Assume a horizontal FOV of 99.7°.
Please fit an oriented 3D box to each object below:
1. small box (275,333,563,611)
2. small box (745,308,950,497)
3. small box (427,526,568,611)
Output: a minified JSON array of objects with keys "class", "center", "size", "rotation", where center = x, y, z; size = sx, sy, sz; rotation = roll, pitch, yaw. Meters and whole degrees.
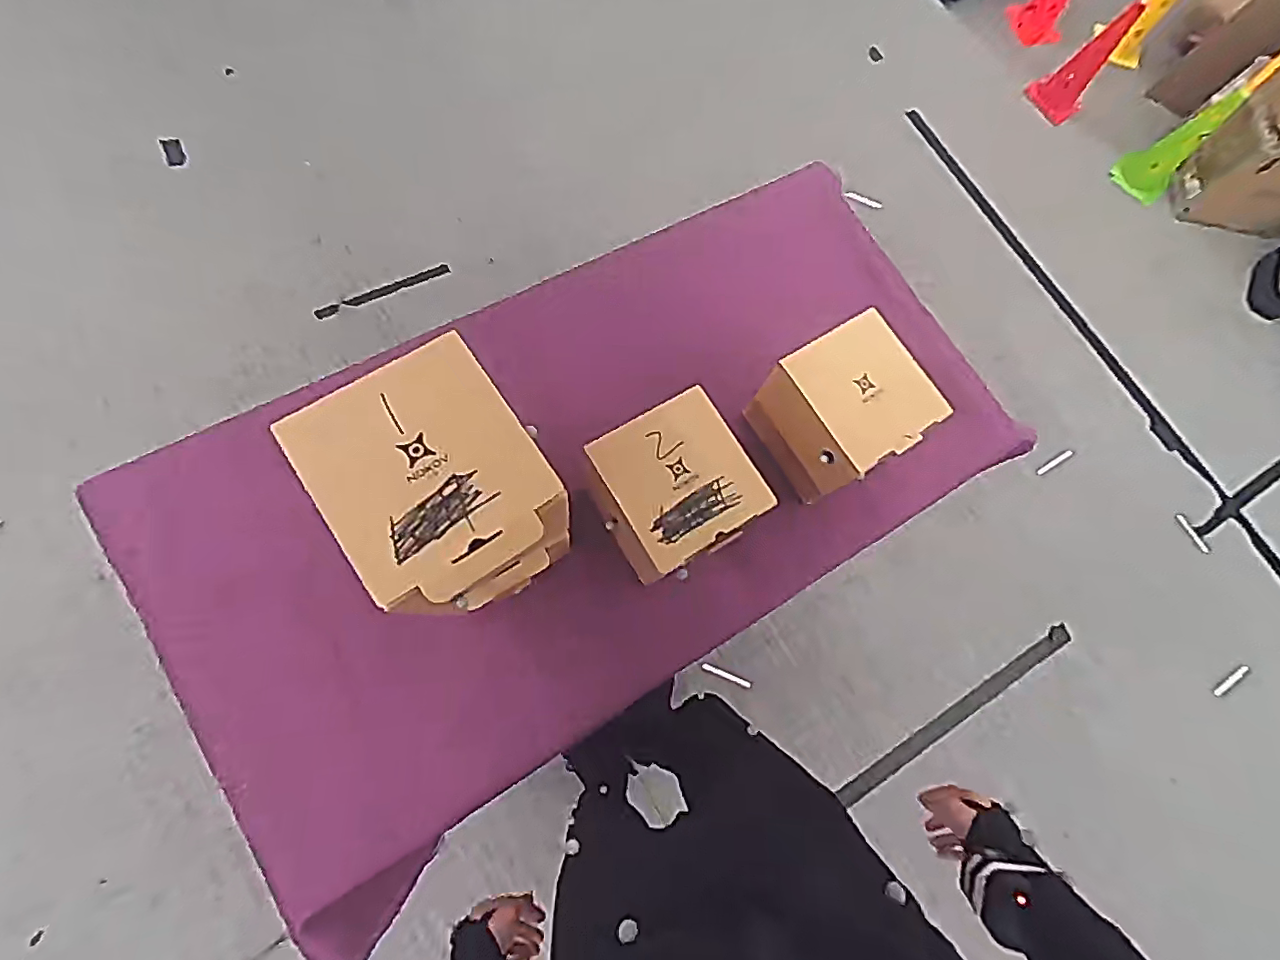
[{"class":"small box","center":[-0.183,0.005,0.508],"size":[0.168,0.176,0.179],"rotation":[-34,81,-14]},{"class":"small box","center":[0.277,-0.100,0.765],"size":[0.168,0.176,0.179],"rotation":[-31,81,-14]},{"class":"small box","center":[-0.201,0.047,0.665],"size":[0.168,0.176,0.179],"rotation":[-29,80,-13]}]
